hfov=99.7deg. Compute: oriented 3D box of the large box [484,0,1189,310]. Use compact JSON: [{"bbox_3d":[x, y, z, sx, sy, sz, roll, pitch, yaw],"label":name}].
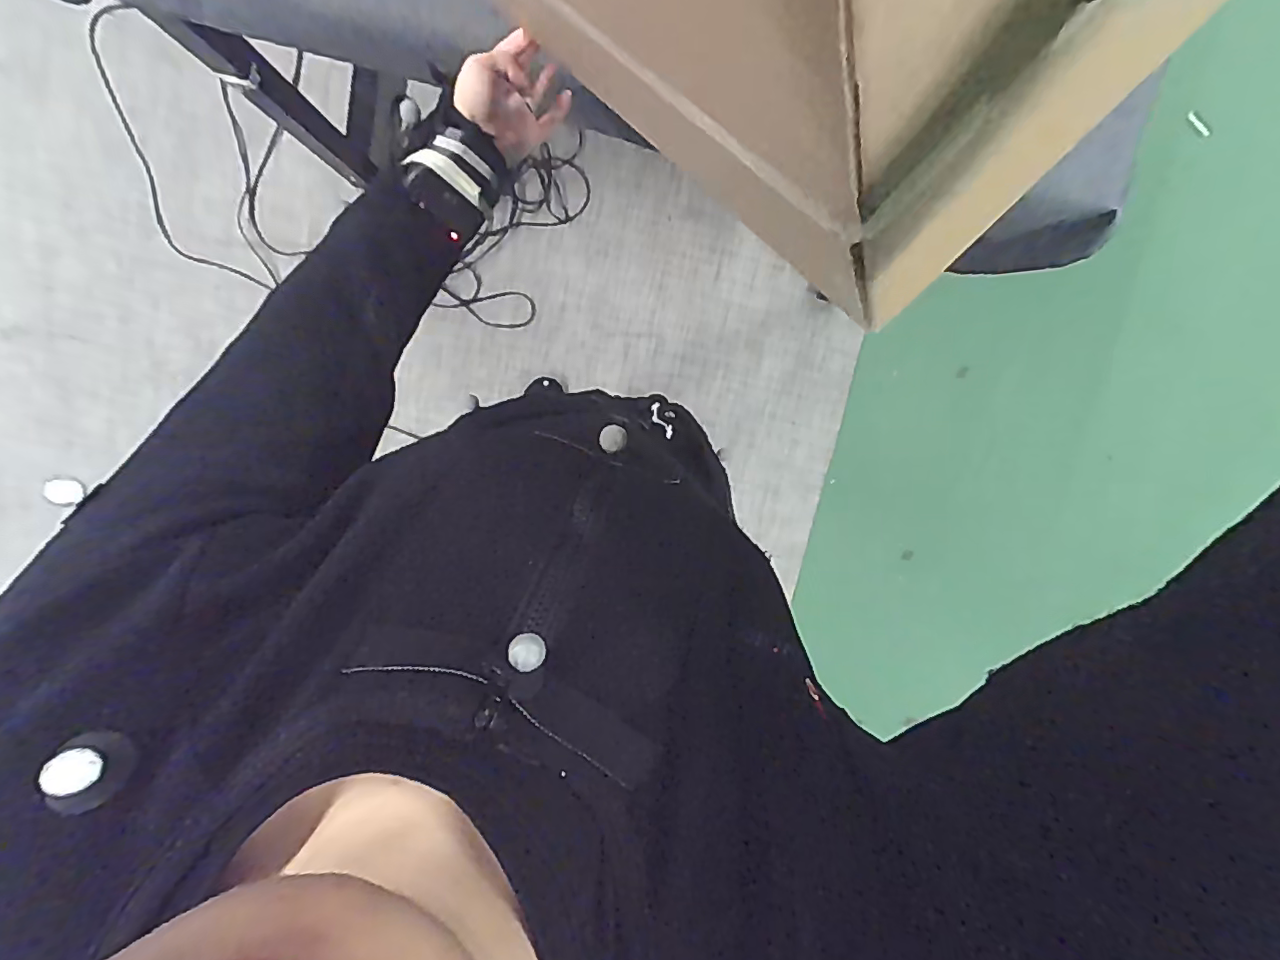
[{"bbox_3d":[0.065,-0.347,0.230,0.320,0.320,0.408,-47,72,16],"label":"large box"}]
